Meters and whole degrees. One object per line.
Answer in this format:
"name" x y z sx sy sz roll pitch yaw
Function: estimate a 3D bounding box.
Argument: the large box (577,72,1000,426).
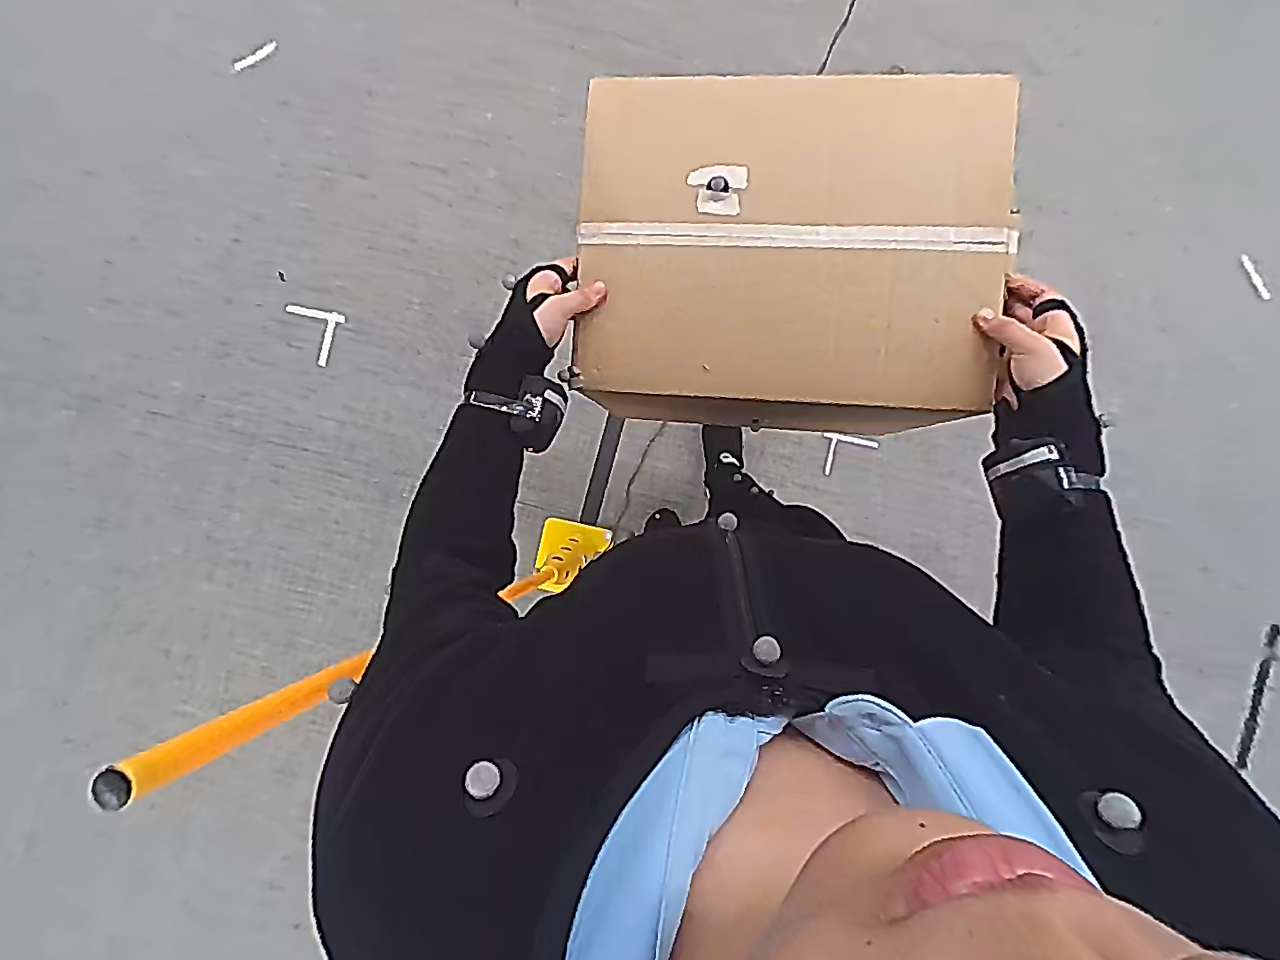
"large box" 0.159 -0.239 0.682 0.408 0.320 0.320 3 89 8
